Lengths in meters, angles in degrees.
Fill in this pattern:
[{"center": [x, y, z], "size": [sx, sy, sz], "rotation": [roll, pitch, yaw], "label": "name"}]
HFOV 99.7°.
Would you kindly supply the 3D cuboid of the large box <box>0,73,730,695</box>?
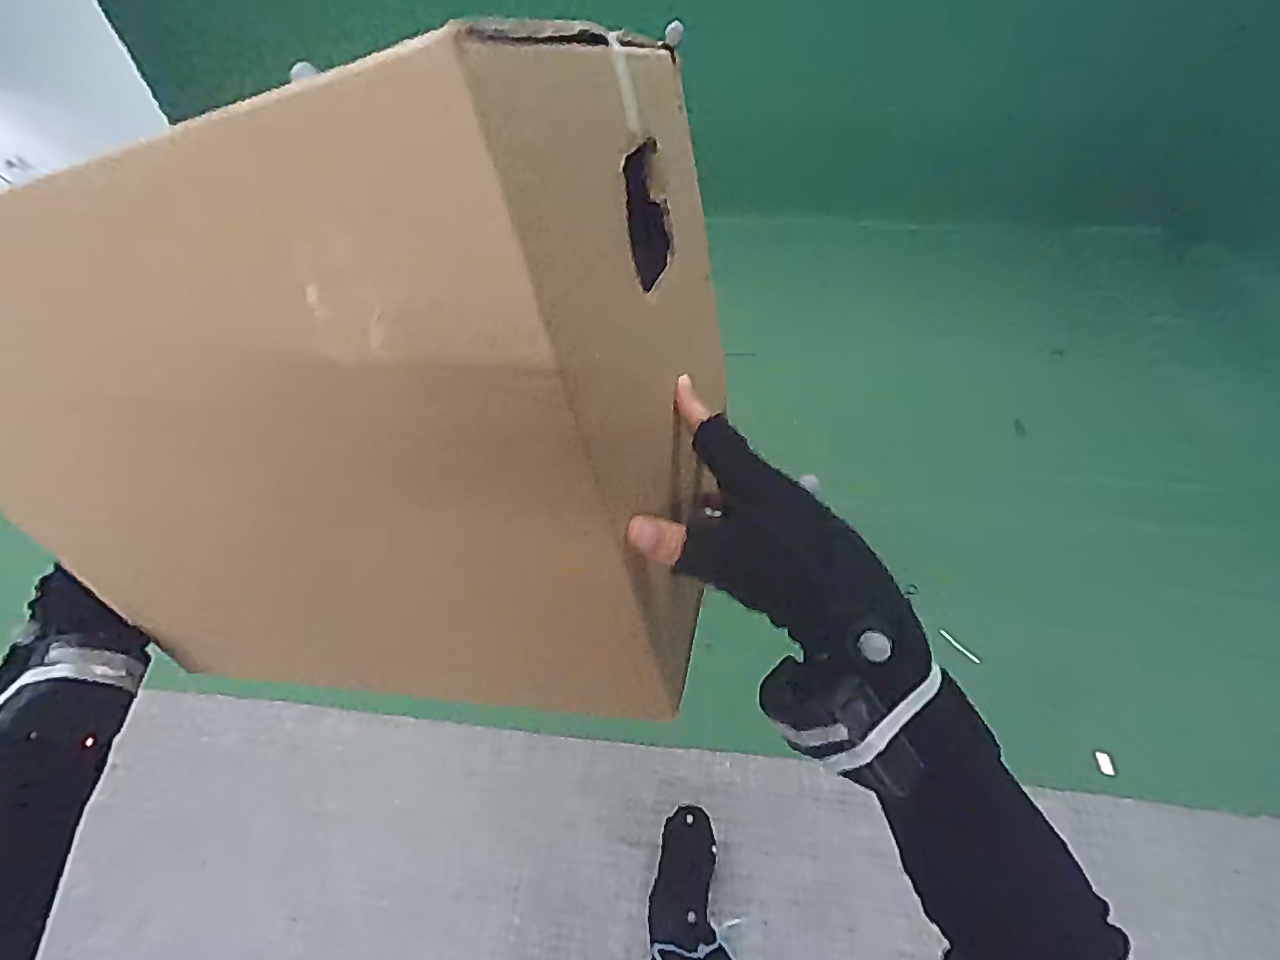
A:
[{"center": [-0.158, -0.069, 0.413], "size": [0.408, 0.320, 0.320], "rotation": [-2, 37, 17], "label": "large box"}]
